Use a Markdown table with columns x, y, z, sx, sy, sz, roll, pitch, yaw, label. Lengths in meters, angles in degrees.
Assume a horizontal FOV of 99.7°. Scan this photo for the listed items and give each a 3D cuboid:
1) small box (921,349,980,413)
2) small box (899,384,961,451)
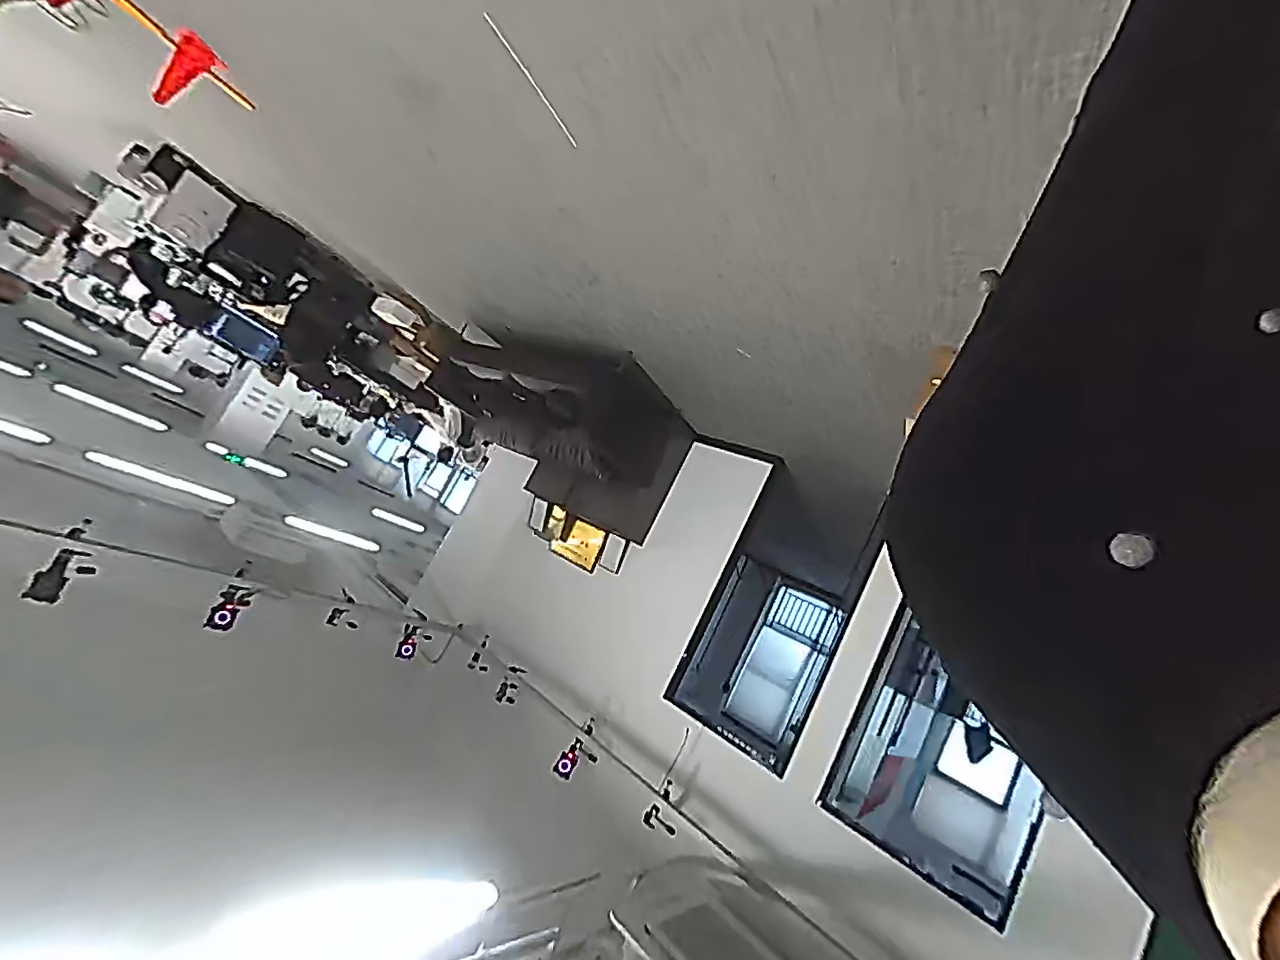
| x | y | z | sx | sy | sz | roll | pitch | yaw | label |
| --- | --- | --- | --- | --- | --- | --- | --- | --- | --- |
| 1.197 | -0.382 | 2.107 | 0.168 | 0.176 | 0.179 | 21 | 168 | 25 | small box |
| 1.119 | -0.243 | 2.089 | 0.168 | 0.176 | 0.179 | 23 | 169 | 31 | small box |
